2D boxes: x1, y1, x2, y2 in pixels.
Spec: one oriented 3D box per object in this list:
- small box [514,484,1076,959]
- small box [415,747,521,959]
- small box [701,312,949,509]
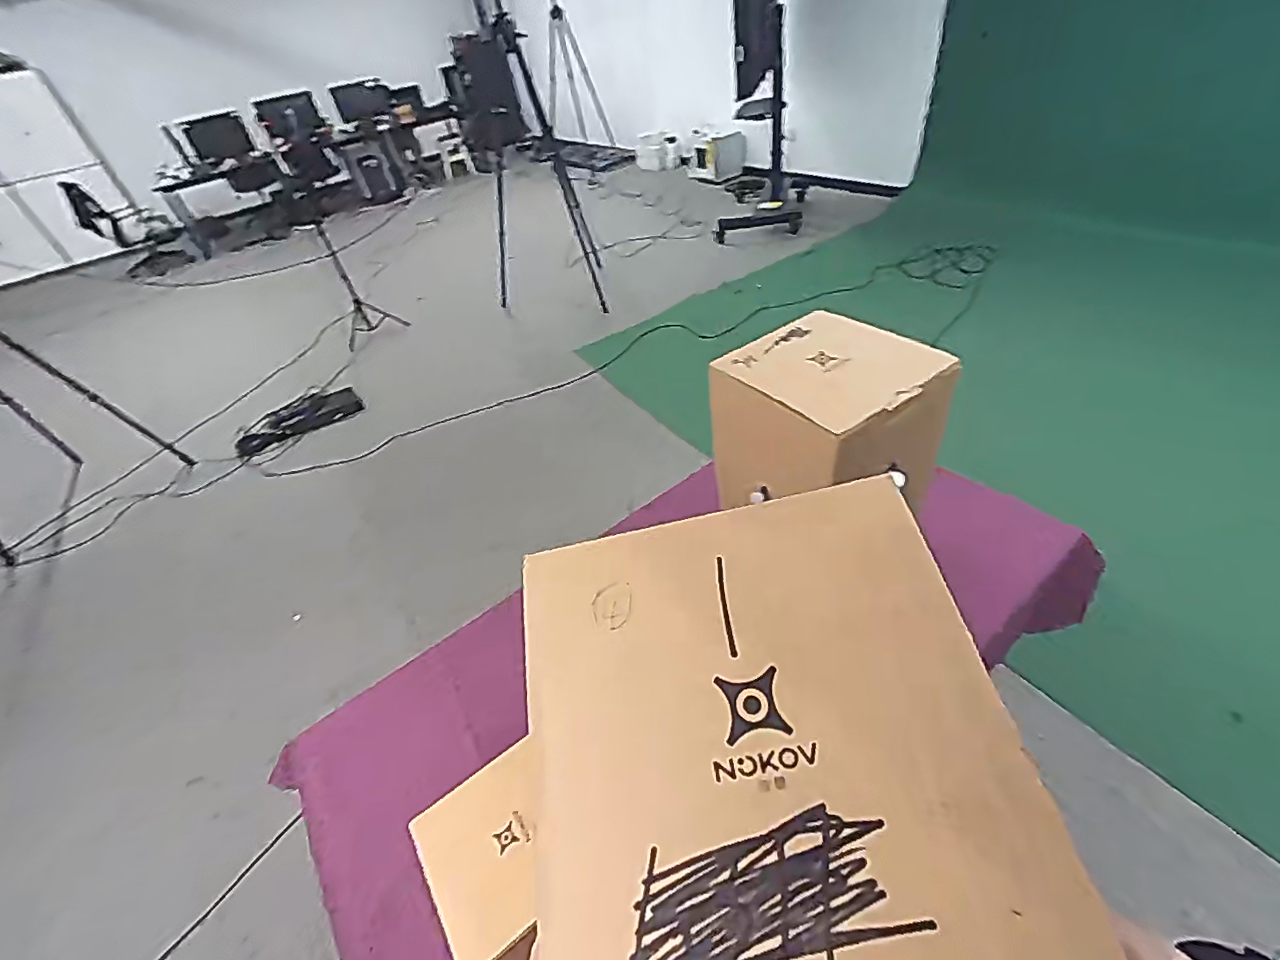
[{"bbox_3d":[0.049,0.131,0.262,0.168,0.176,0.179,-13,58,5],"label":"small box"},{"bbox_3d":[-0.121,0.436,0.624,0.179,0.176,0.168,-32,45,-21],"label":"small box"},{"bbox_3d":[0.188,-0.051,0.587,0.168,0.176,0.179,-29,44,-19],"label":"small box"}]
